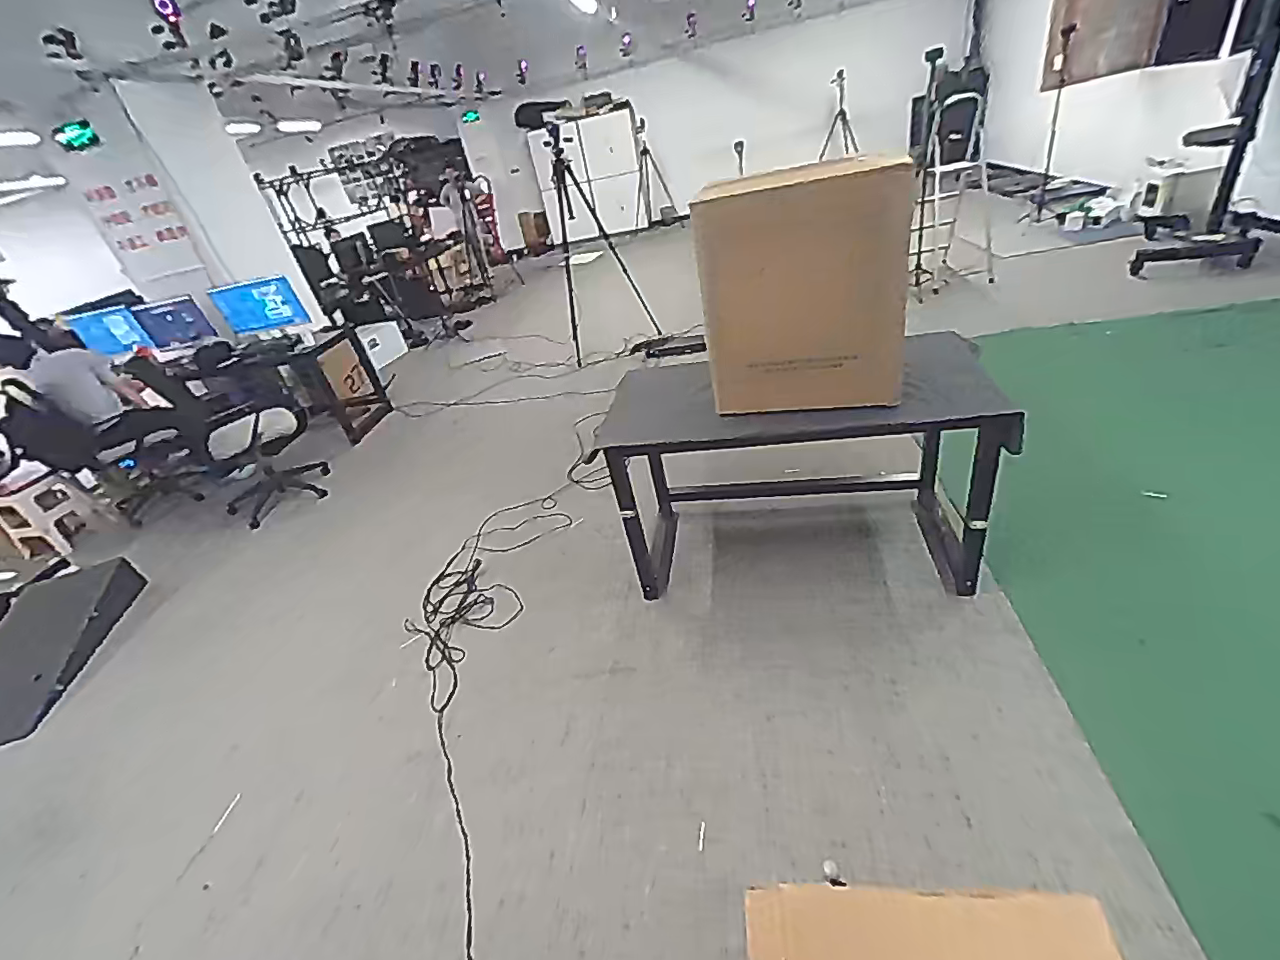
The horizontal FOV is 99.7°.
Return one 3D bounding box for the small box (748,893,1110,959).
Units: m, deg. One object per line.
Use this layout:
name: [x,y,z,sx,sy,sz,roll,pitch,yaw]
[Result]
small box: [0.167,0.350,0.319,0.179,0.176,0.168,-2,51,3]
